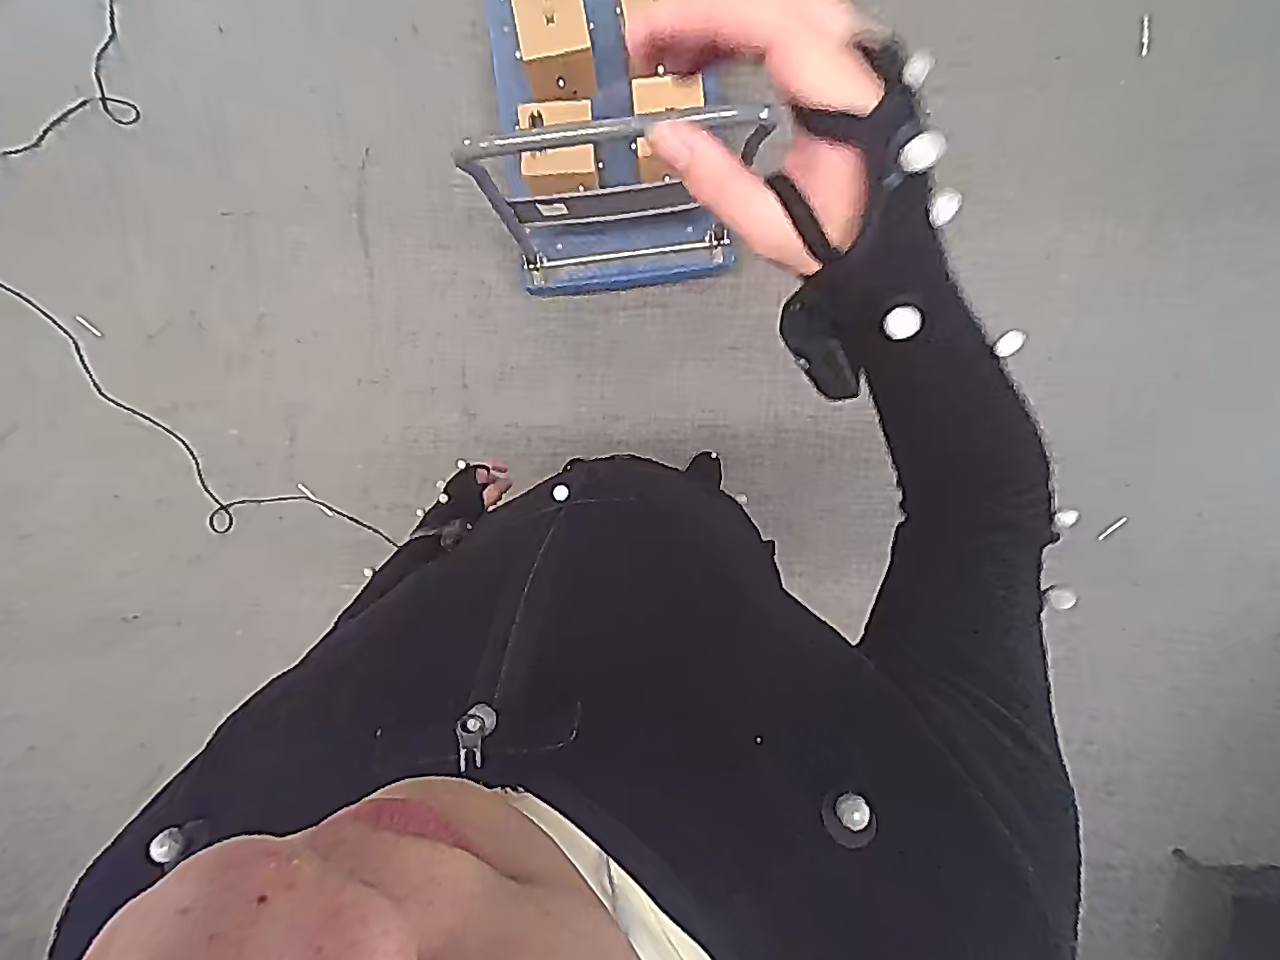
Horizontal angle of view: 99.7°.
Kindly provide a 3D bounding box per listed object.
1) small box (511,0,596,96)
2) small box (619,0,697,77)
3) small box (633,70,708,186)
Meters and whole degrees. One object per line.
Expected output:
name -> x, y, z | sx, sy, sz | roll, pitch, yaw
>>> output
small box -> -0.207, -1.081, 1.326 | 0.168, 0.176, 0.179 | -10, 93, 1
small box -> 0.040, -1.127, 1.317 | 0.168, 0.176, 0.179 | -10, 94, 3
small box -> 0.072, -0.859, 1.334 | 0.168, 0.176, 0.179 | -6, 94, 2
